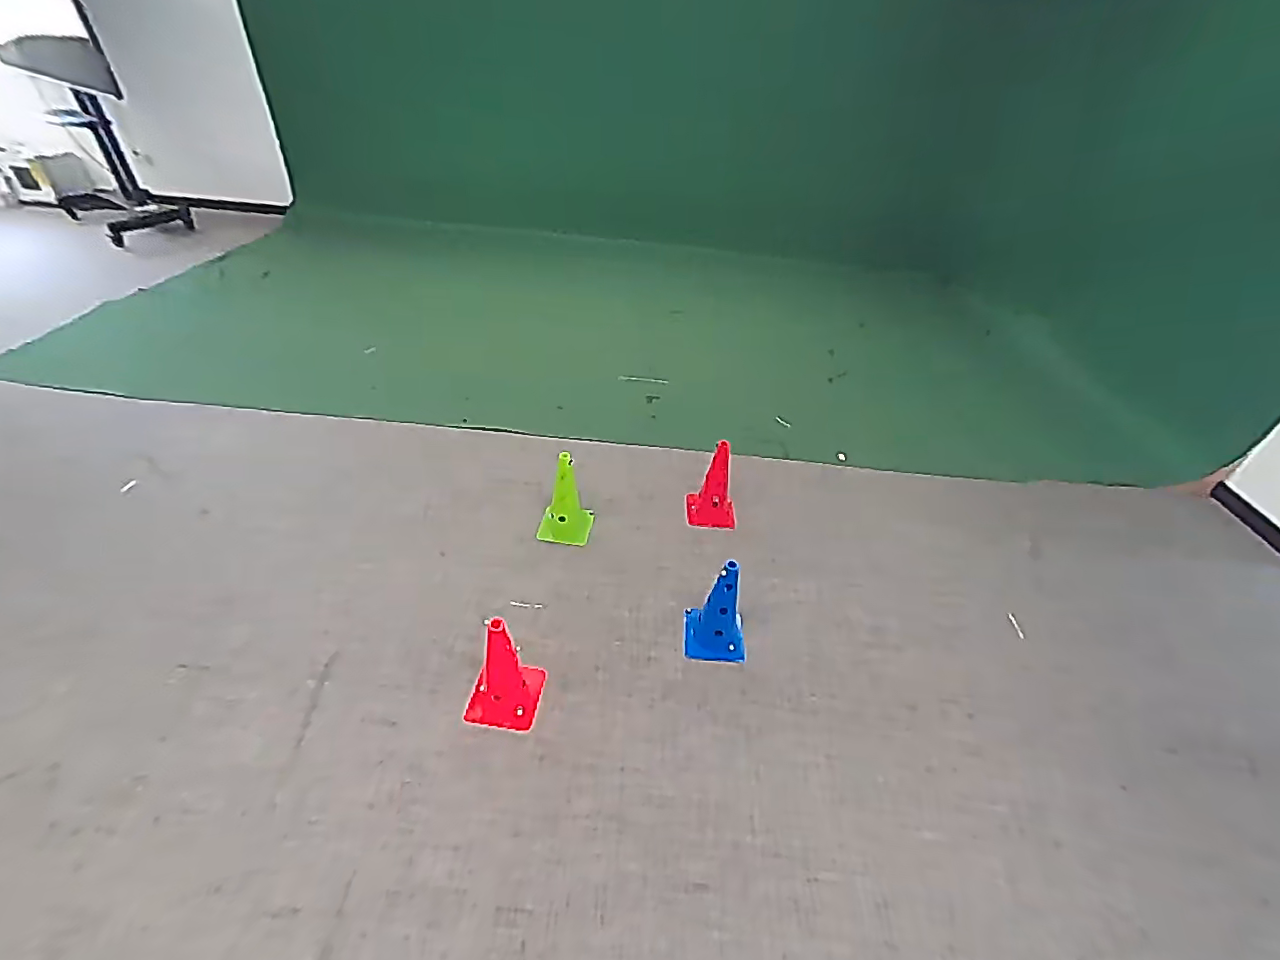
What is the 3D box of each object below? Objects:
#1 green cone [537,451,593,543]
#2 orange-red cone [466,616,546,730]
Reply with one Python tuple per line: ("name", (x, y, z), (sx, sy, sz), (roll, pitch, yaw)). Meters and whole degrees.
("green cone", (-0.289, 0.040, 2.060), (0.200, 0.368, 0.202), (7, 40, 2))
("orange-red cone", (-0.378, 0.499, 1.497), (0.198, 0.360, 0.199), (9, 38, 3))
